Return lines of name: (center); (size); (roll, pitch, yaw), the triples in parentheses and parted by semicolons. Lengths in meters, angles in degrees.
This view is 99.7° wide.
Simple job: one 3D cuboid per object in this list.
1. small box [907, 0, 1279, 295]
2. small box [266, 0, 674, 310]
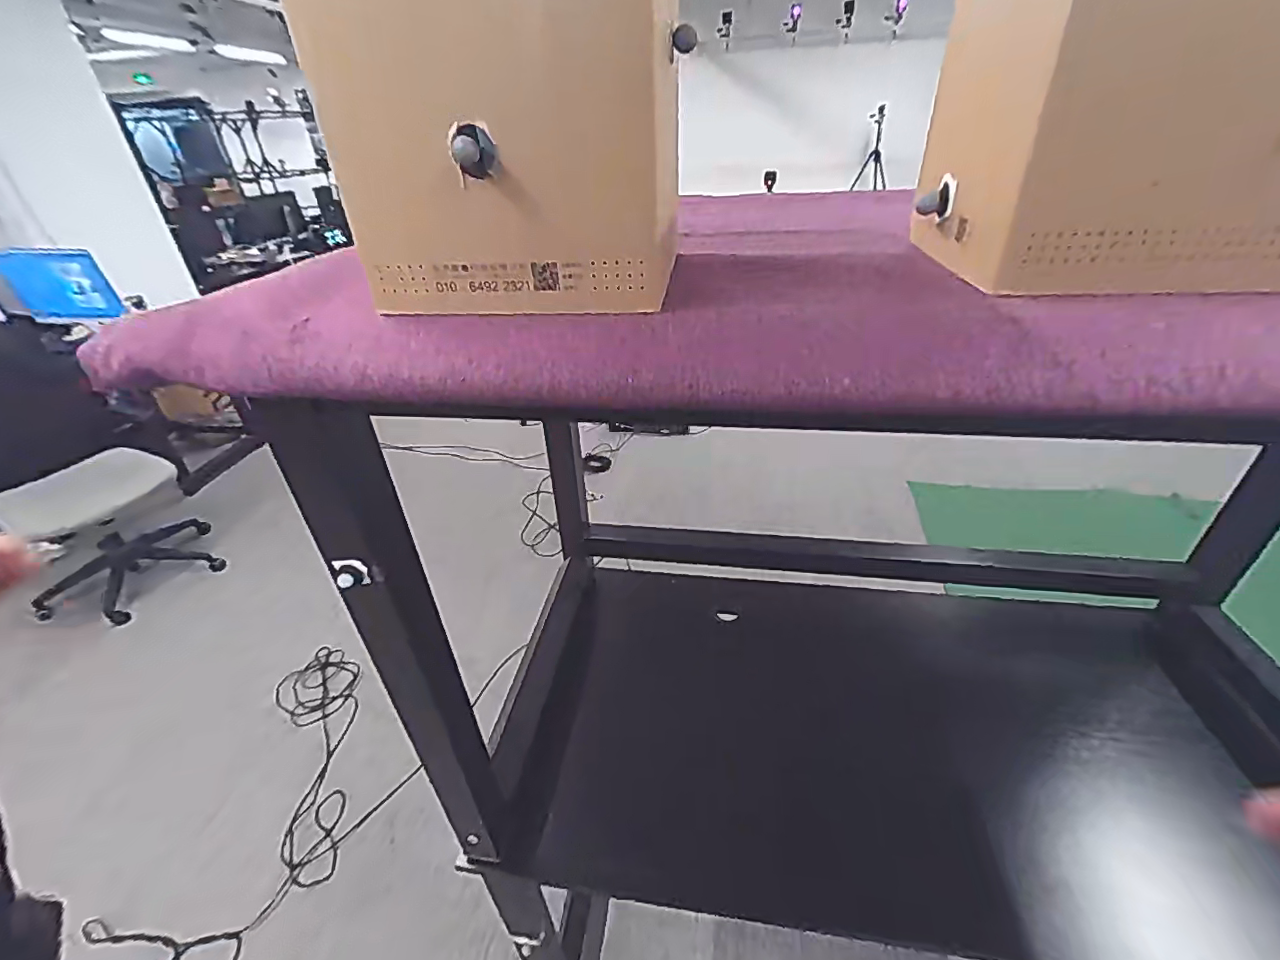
small box: (0.274, -0.208, 0.299); (0.179, 0.176, 0.168); (1, 33, 8)
small box: (-0.068, -0.207, 0.322); (0.168, 0.176, 0.179); (2, 35, 6)
